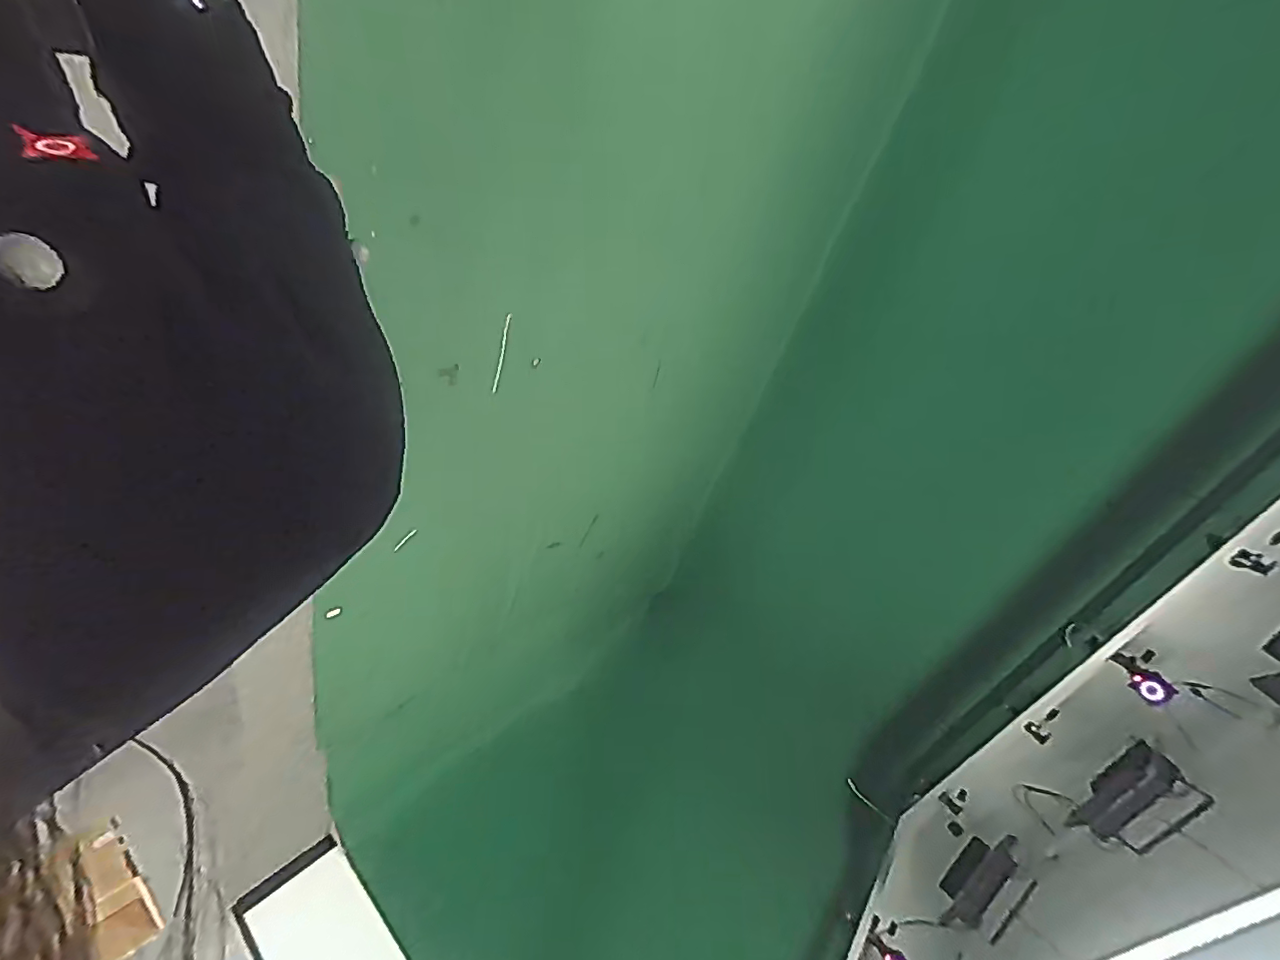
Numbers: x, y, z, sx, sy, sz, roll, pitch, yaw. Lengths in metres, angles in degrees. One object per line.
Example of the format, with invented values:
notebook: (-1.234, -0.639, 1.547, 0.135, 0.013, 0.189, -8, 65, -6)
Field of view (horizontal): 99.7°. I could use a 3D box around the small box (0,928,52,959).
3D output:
small box: (-1.436, 1.168, 1.212, 0.168, 0.176, 0.179, -17, 138, -53)
